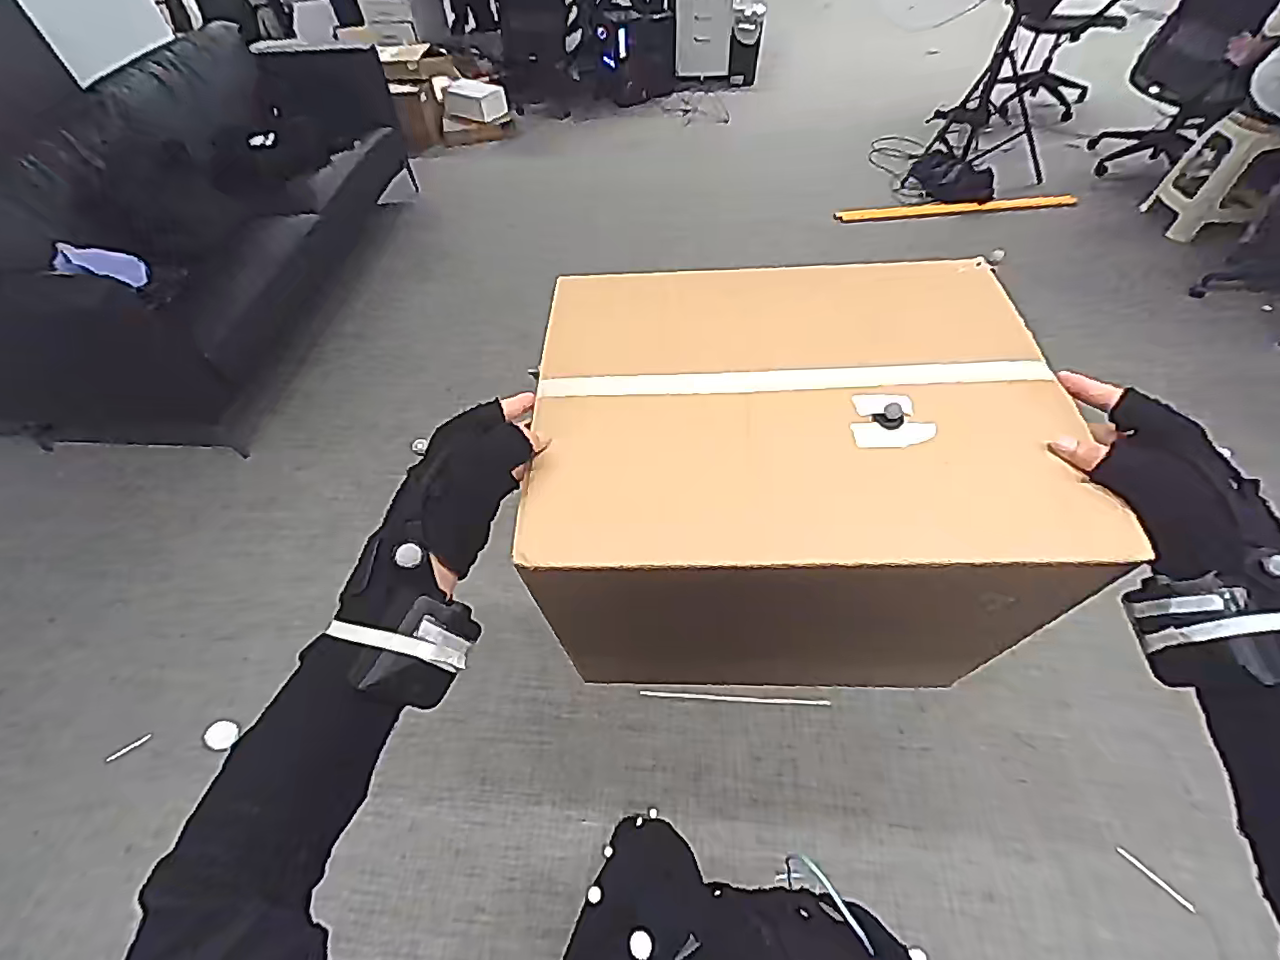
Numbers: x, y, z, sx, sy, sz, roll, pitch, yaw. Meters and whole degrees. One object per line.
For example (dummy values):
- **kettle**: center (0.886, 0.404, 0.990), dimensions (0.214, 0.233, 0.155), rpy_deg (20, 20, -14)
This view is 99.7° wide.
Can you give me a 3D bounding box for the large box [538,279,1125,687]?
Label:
- **large box**: center (0.132, 0.018, 0.570), dimensions (0.408, 0.320, 0.320), rpy_deg (-1, 55, 3)
